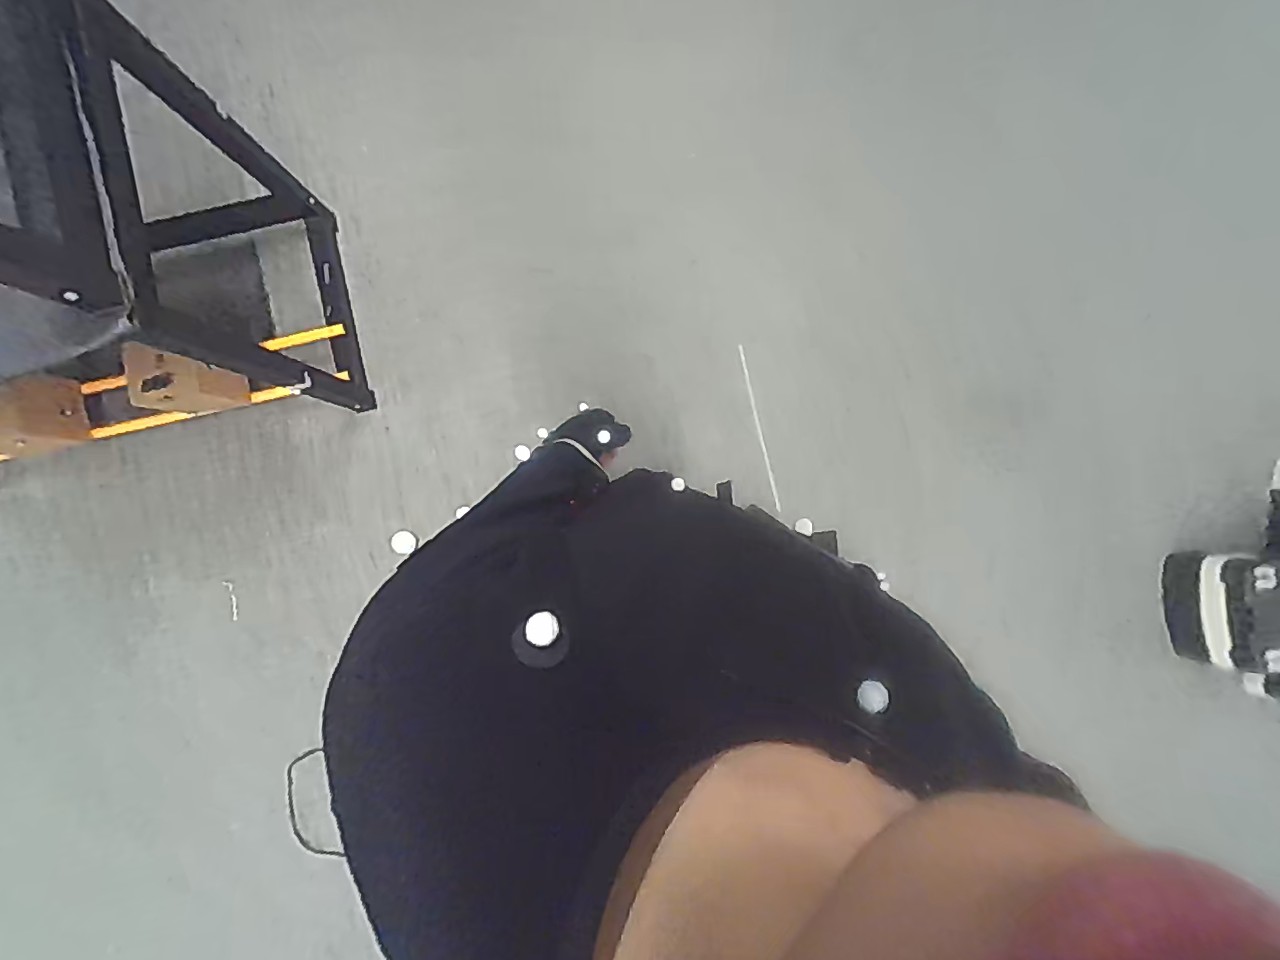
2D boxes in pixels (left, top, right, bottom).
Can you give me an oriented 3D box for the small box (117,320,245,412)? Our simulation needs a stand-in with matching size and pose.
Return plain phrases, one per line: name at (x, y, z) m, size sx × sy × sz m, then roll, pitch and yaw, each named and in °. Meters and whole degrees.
small box at (-1.101, -0.266, 1.312) m, size 0.168 × 0.176 × 0.179 m, roll -9°, pitch 88°, yaw -1°
